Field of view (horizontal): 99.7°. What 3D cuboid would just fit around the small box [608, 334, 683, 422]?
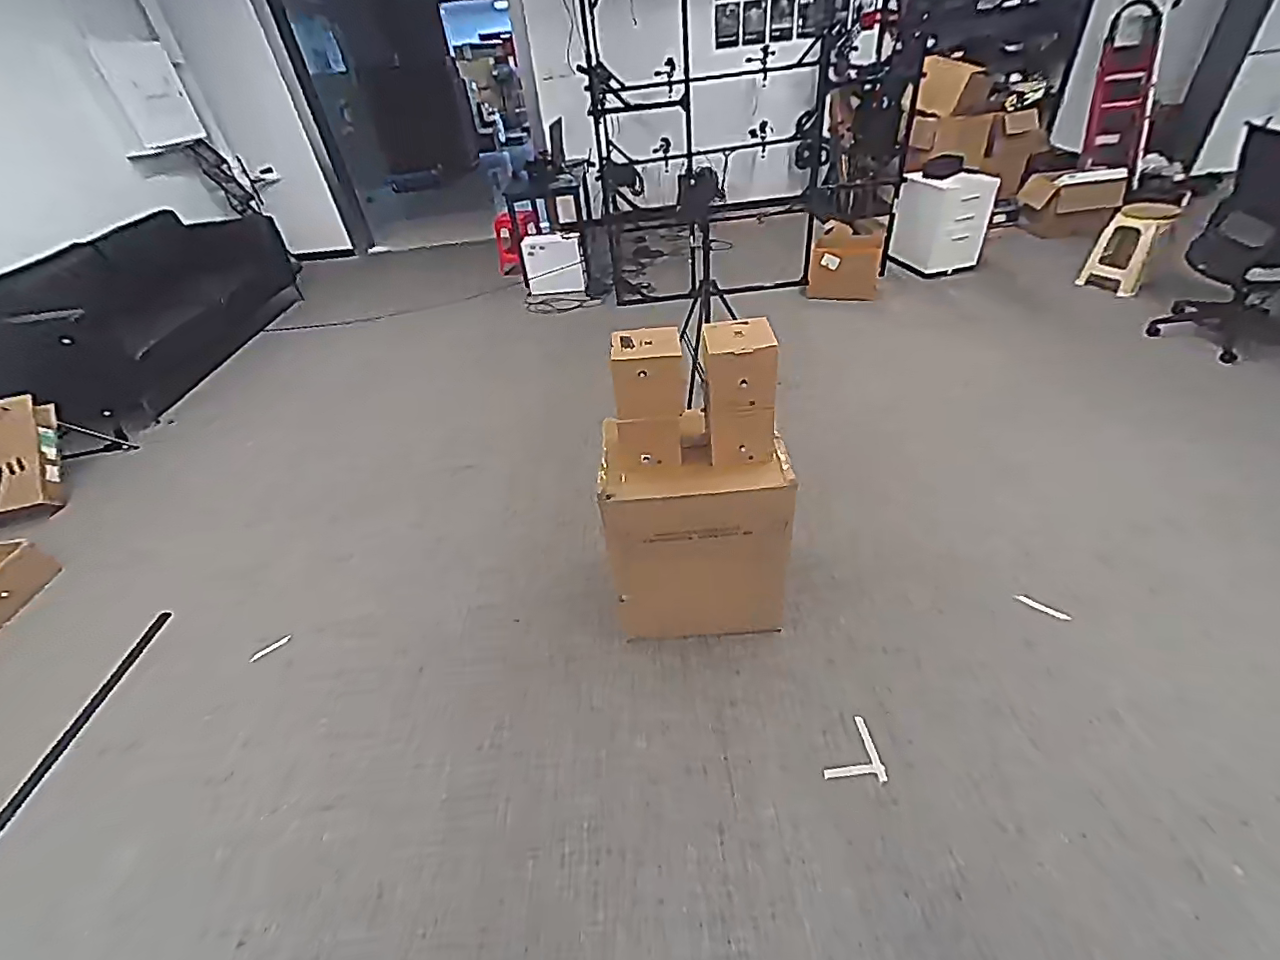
[{"bbox_3d":[0.016,-0.262,1.405,0.179,0.176,0.168,-5,39,2],"label":"small box"}]

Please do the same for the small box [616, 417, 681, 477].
[{"bbox_3d":[0.023,-0.130,1.503,0.168,0.176,0.179,-6,39,2],"label":"small box"}]

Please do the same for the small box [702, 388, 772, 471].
[{"bbox_3d":[0.261,-0.145,1.481,0.168,0.176,0.179,-7,39,3],"label":"small box"}]

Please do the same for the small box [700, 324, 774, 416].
[{"bbox_3d":[0.246,-0.276,1.382,0.168,0.176,0.179,-6,39,4],"label":"small box"}]
